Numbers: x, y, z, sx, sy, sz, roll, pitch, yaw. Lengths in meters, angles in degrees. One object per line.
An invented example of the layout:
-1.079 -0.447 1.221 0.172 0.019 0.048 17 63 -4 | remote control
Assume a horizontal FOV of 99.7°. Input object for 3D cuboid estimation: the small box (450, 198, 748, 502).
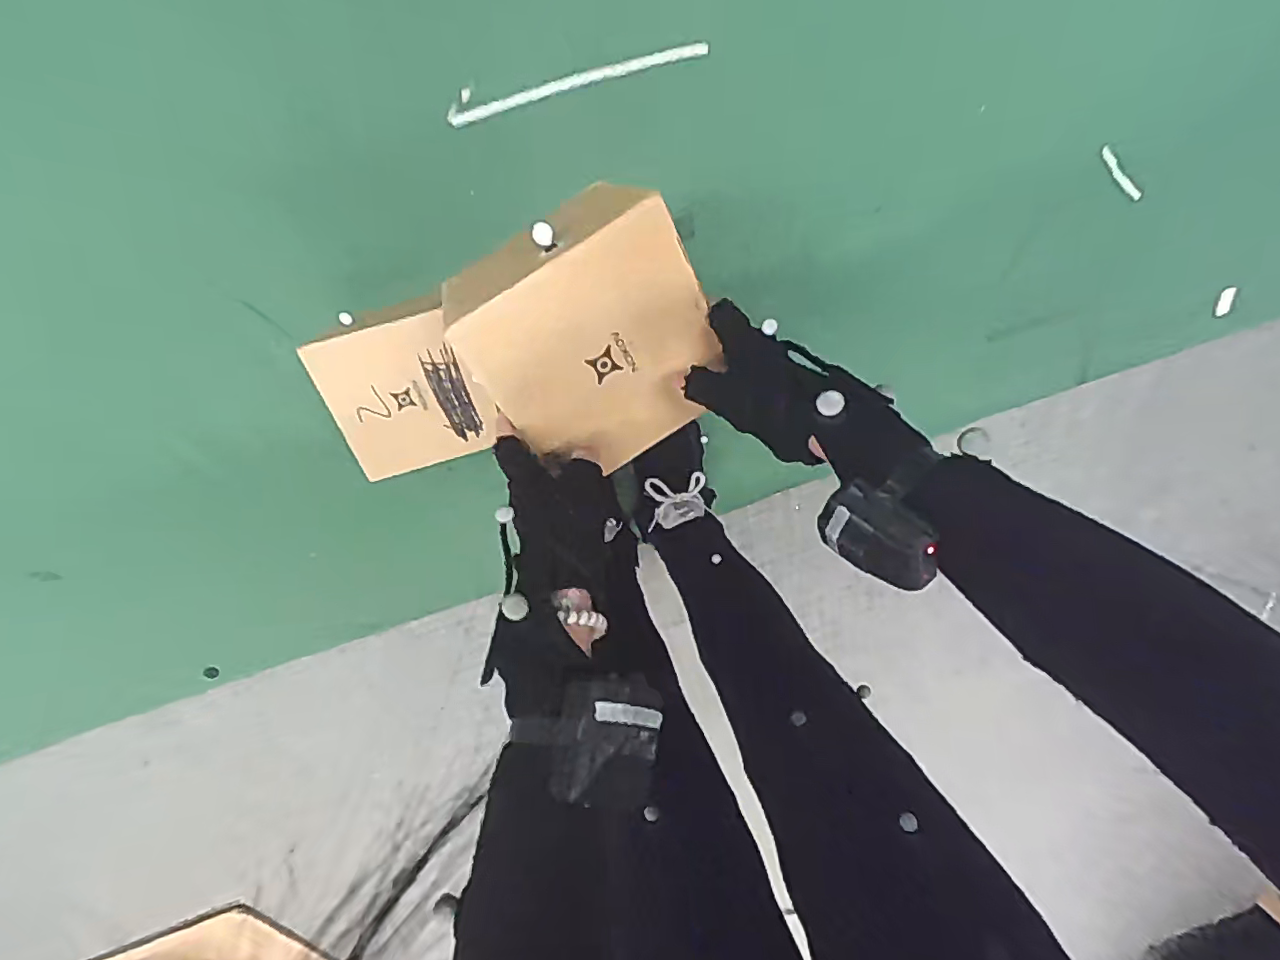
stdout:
-0.041 -0.119 0.467 0.179 0.176 0.168 -33 124 -1 | small box
